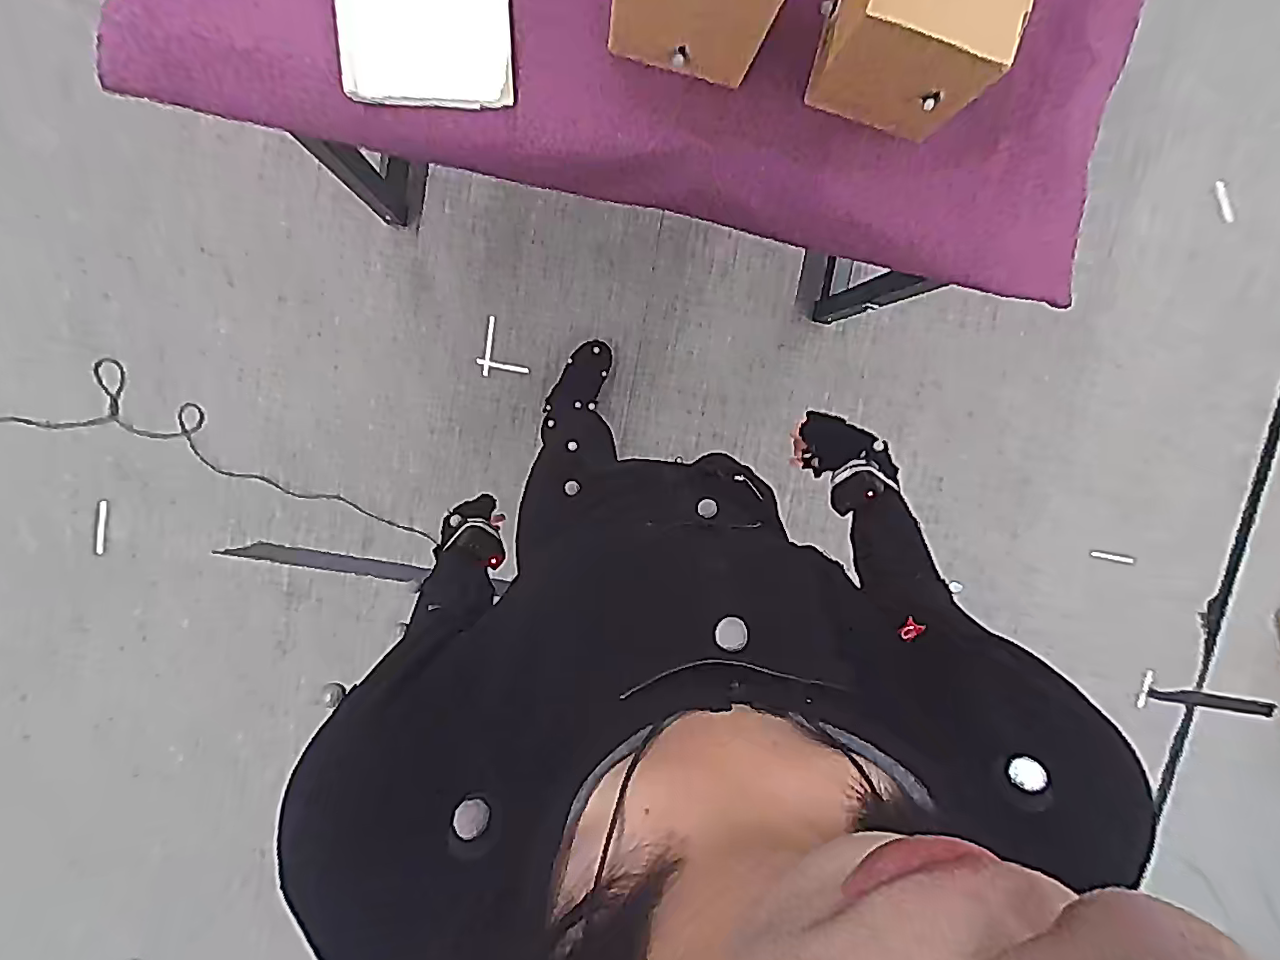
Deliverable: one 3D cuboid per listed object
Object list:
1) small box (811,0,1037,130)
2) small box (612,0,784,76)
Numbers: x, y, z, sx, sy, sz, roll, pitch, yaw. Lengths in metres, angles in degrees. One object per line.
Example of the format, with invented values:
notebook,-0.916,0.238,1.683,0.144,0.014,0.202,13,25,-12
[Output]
small box,0.332,-0.551,0.634,0.179,0.176,0.168,13,94,-6
small box,0.072,-0.596,0.599,0.179,0.176,0.168,10,96,-8
